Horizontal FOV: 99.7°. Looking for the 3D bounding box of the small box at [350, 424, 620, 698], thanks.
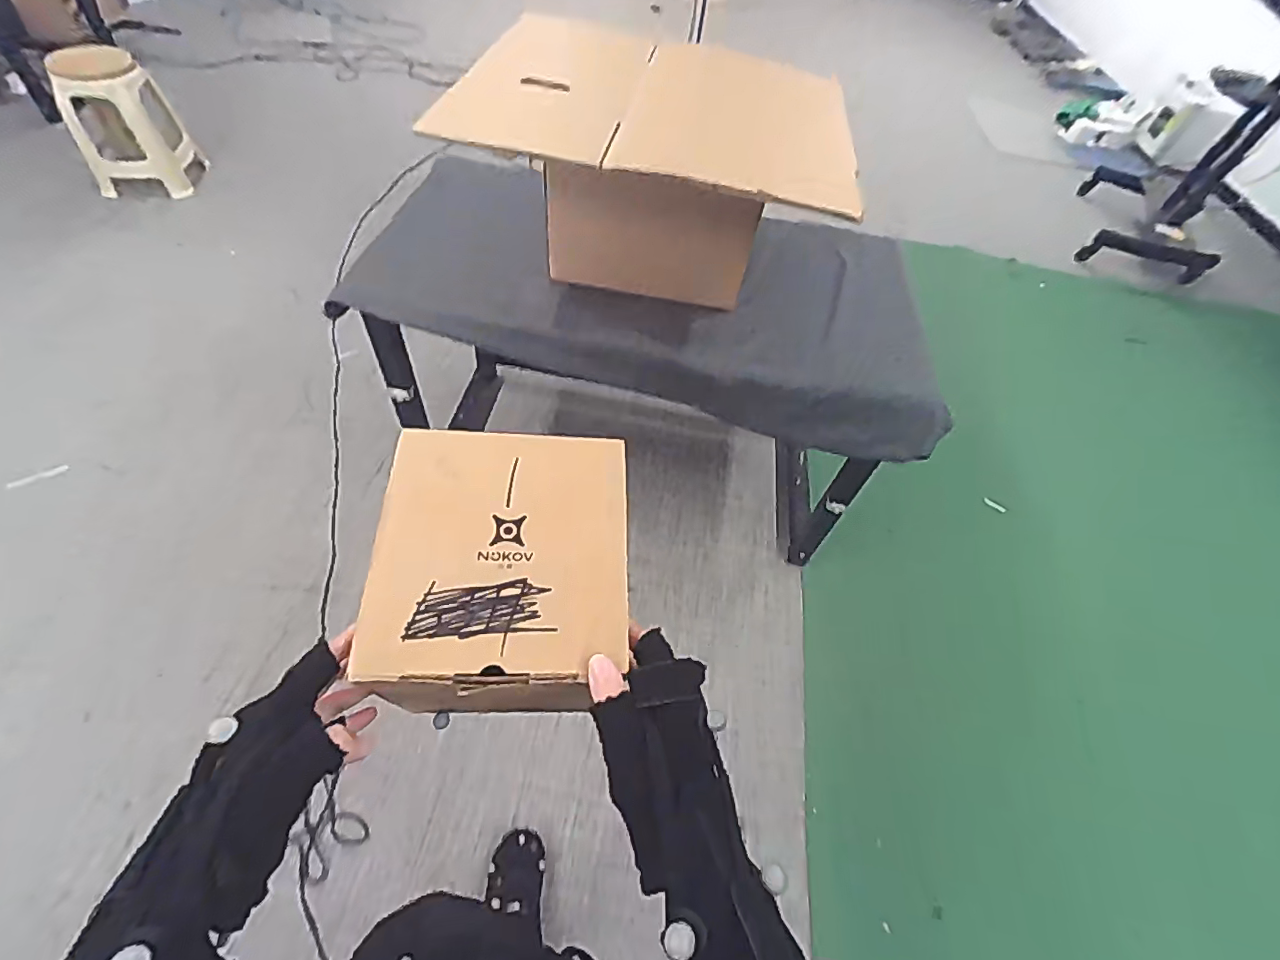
[{"bbox_3d":[-0.104,0.076,0.440,0.168,0.176,0.179,3,60,-7],"label":"small box"}]
